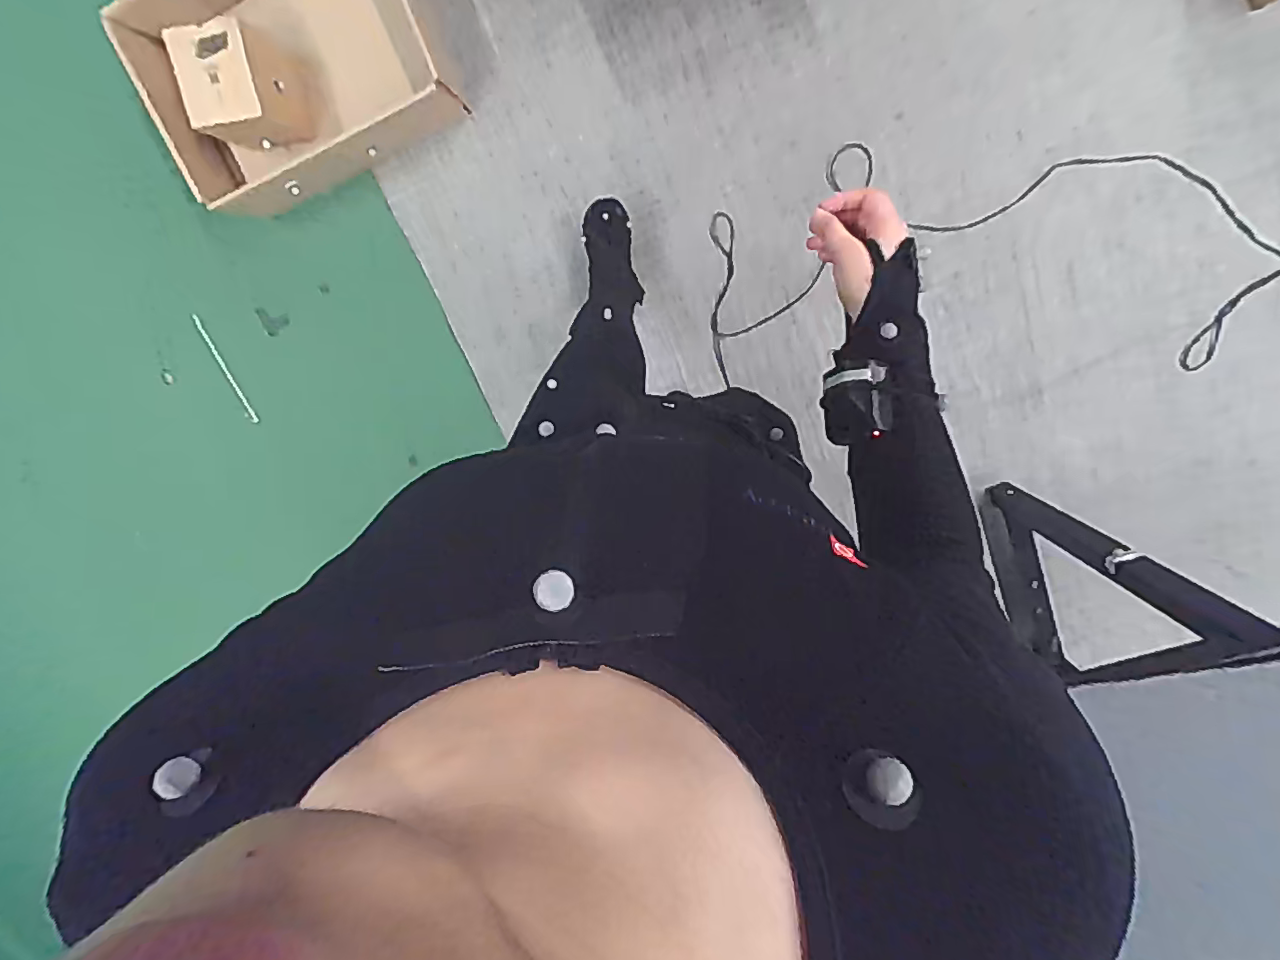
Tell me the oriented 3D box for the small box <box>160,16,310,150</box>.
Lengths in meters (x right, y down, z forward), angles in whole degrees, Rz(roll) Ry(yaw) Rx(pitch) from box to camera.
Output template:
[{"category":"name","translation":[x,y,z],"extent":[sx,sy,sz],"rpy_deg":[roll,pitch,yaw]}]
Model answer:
[{"category":"small box","translation":[-0.857,-0.842,1.163],"extent":[0.168,0.176,0.179],"rpy_deg":[-5,106,6]}]

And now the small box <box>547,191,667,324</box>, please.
[{"category":"small box","translation":[-0.063,-0.482,1.188],"extent":[0.179,0.176,0.168],"rpy_deg":[-48,55,12]}]
